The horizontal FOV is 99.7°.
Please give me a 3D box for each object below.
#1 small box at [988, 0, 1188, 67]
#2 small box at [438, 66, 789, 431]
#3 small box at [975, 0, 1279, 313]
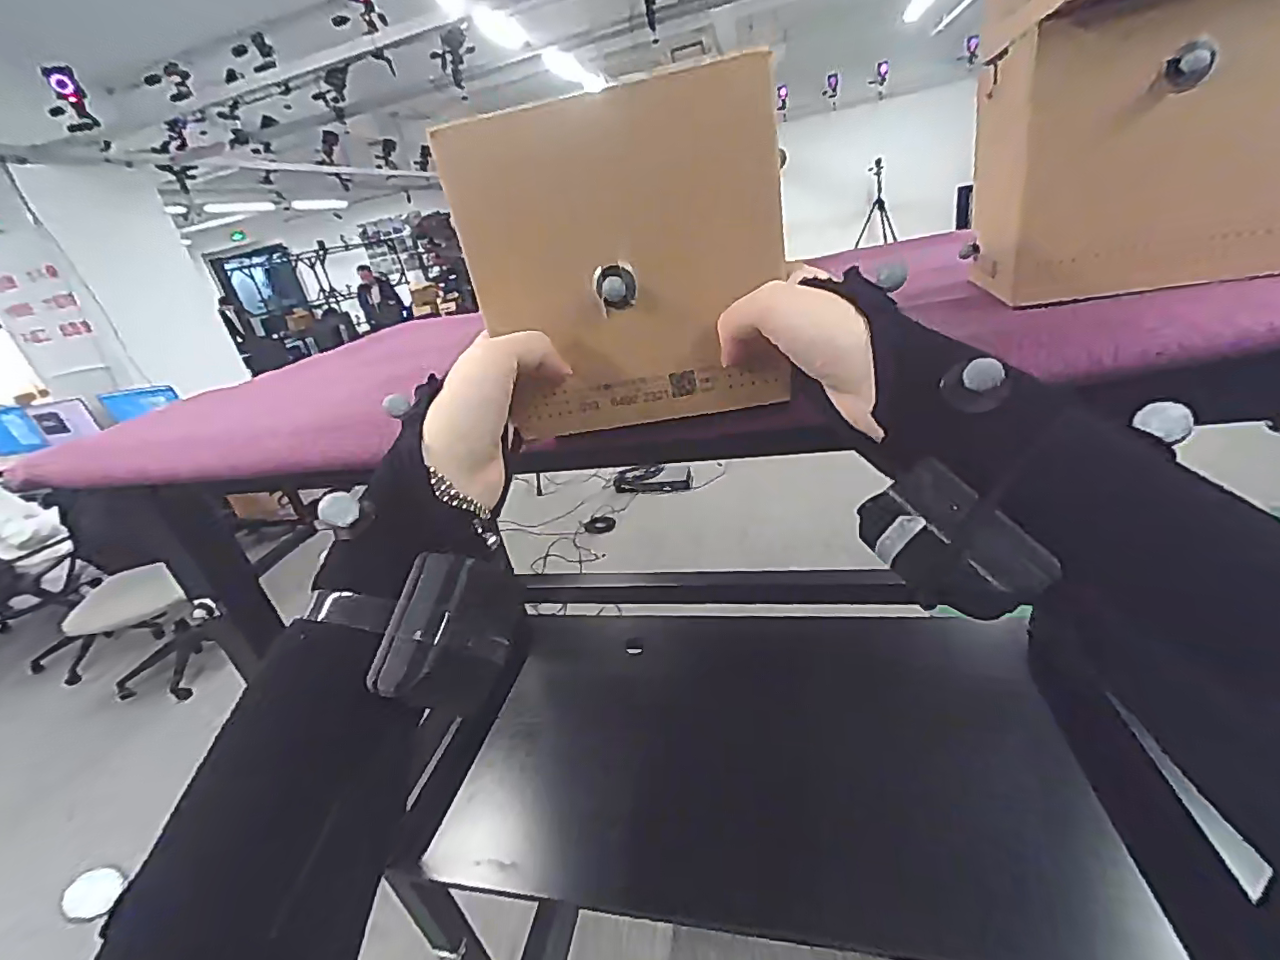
[{"bbox_3d":[0.319,-0.362,0.310,0.179,0.176,0.168,-3,25,18],"label":"small box"},{"bbox_3d":[0.001,-0.138,0.359,0.168,0.176,0.179,-7,27,8],"label":"small box"},{"bbox_3d":[0.354,-0.223,0.388,0.179,0.176,0.168,-1,26,21],"label":"small box"}]
